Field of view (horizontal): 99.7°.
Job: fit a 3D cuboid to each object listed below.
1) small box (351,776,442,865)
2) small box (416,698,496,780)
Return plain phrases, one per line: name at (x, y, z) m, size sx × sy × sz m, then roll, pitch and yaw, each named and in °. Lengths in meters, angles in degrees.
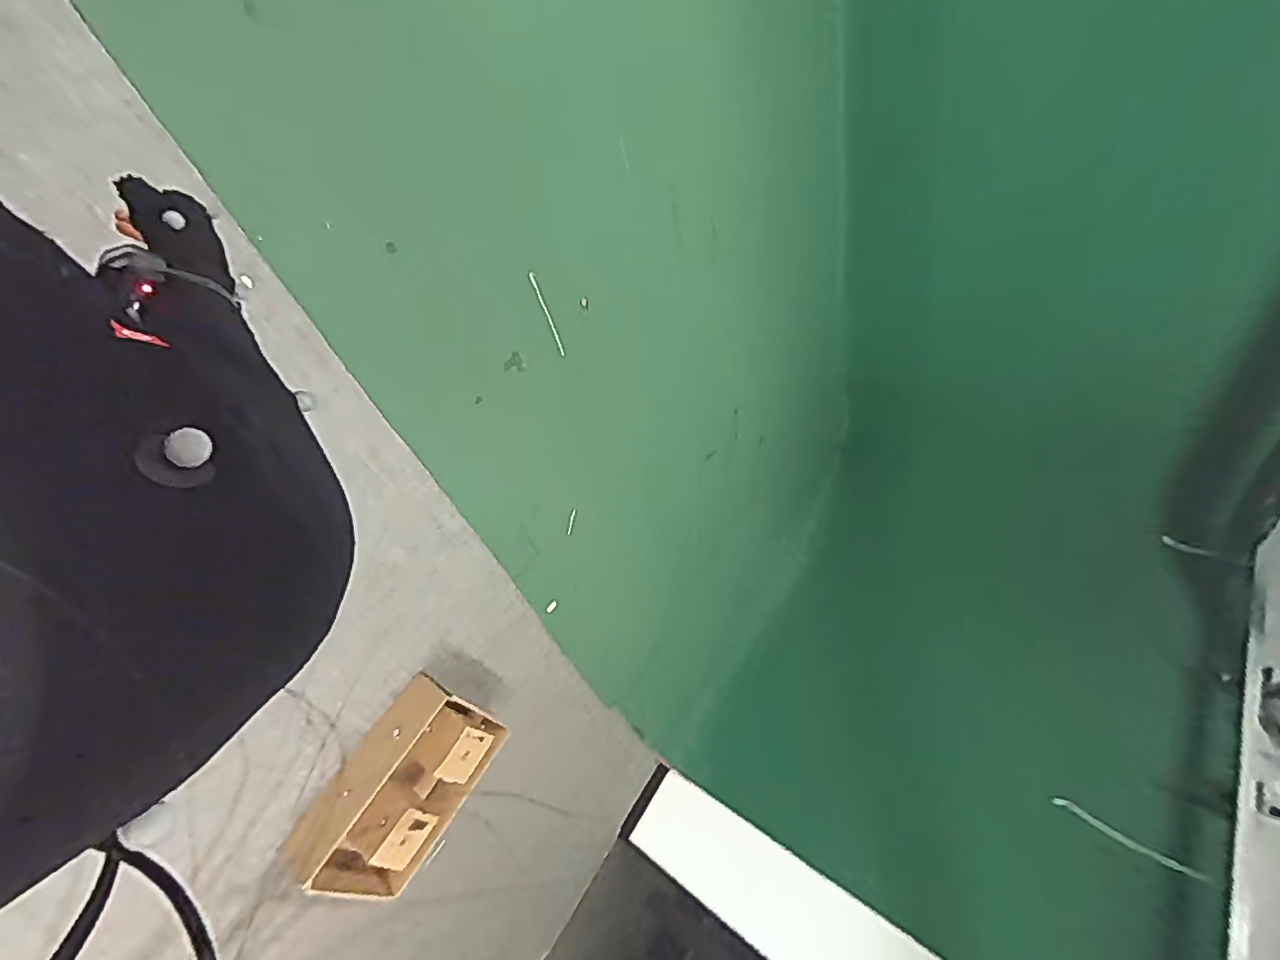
small box at (-0.792, 1.103, 1.760) m, size 0.179 × 0.176 × 0.168 m, roll -54°, pitch 140°, yaw -24°
small box at (-0.642, 0.891, 1.866) m, size 0.179 × 0.176 × 0.168 m, roll -55°, pitch 142°, yaw -19°
